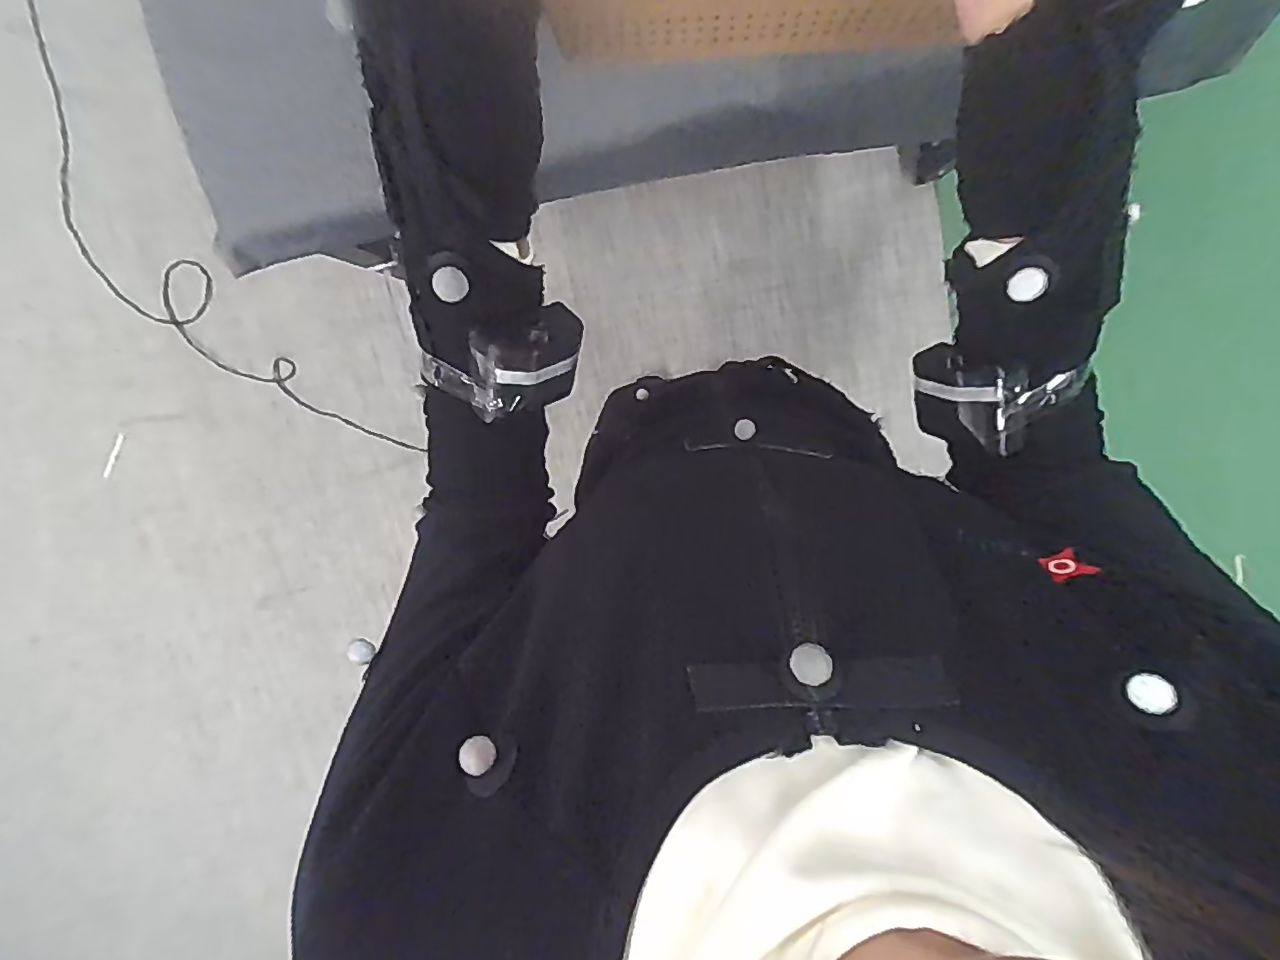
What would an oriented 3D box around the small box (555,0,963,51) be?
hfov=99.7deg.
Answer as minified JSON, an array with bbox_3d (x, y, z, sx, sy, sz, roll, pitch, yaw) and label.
[{"bbox_3d":[0.043,-0.245,0.139,0.179,0.176,0.168,0,107,5],"label":"small box"}]
